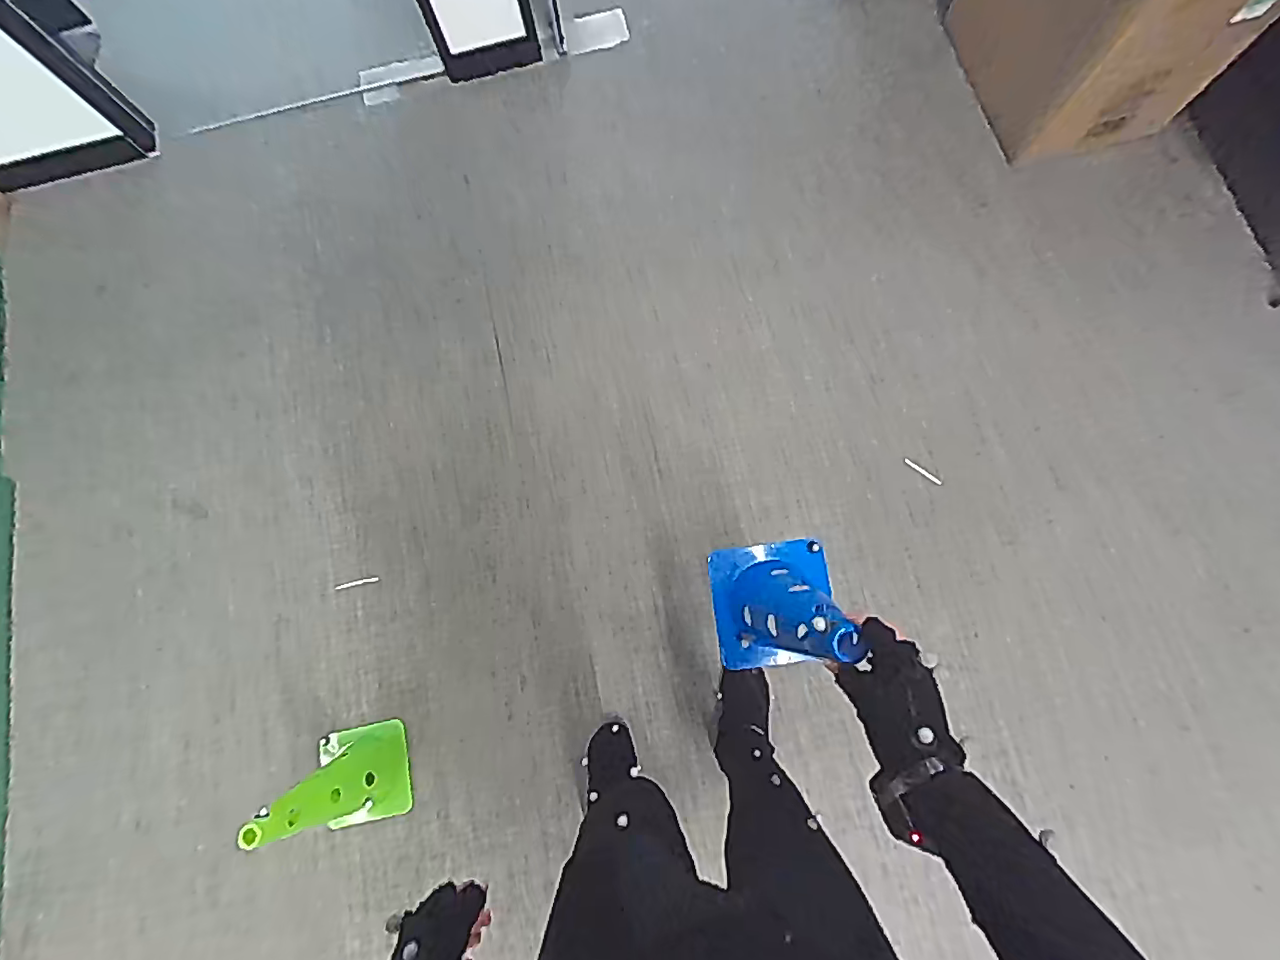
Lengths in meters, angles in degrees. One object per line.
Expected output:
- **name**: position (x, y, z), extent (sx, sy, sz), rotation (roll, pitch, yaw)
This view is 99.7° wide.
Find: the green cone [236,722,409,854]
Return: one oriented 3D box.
- **green cone**: position (-0.636, 0.632, 1.053), extent (0.202, 0.368, 0.200), rotation (-14, 77, -1)
